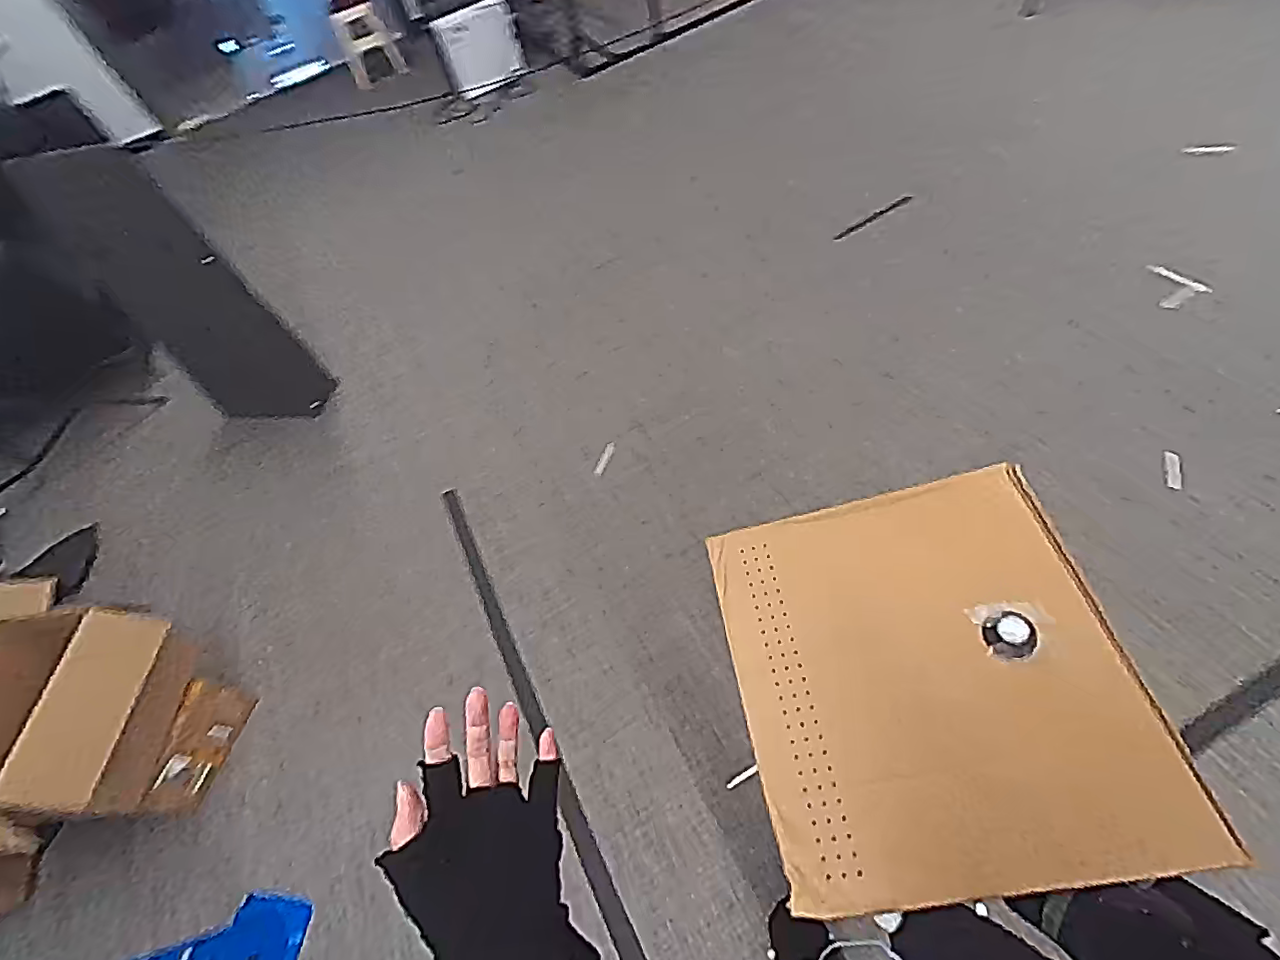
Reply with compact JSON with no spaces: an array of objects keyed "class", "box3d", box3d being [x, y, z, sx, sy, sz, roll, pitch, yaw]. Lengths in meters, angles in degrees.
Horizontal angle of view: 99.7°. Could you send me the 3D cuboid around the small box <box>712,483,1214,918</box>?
[{"class":"small box","box3d":[0.149,0.131,0.326,0.176,0.168,0.179,-16,58,11]}]
